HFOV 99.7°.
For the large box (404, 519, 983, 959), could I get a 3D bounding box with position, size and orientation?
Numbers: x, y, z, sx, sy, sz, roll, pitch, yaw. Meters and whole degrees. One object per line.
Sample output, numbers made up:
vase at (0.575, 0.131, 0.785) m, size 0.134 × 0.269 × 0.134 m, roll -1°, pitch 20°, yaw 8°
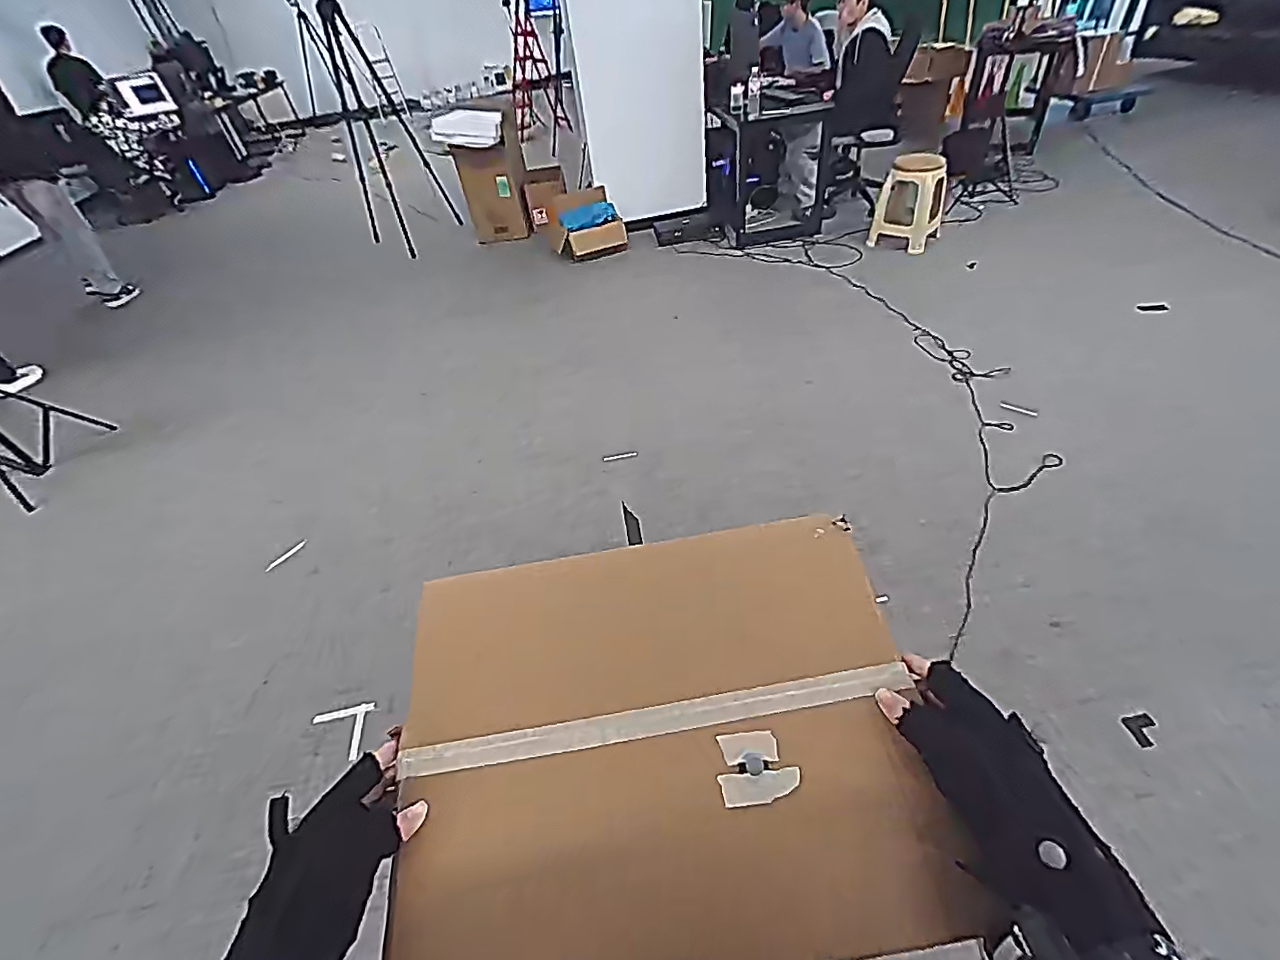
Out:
large box at (0.027, 0.280, 0.563) m, size 0.408 × 0.320 × 0.320 m, roll -10°, pitch 55°, yaw 0°
